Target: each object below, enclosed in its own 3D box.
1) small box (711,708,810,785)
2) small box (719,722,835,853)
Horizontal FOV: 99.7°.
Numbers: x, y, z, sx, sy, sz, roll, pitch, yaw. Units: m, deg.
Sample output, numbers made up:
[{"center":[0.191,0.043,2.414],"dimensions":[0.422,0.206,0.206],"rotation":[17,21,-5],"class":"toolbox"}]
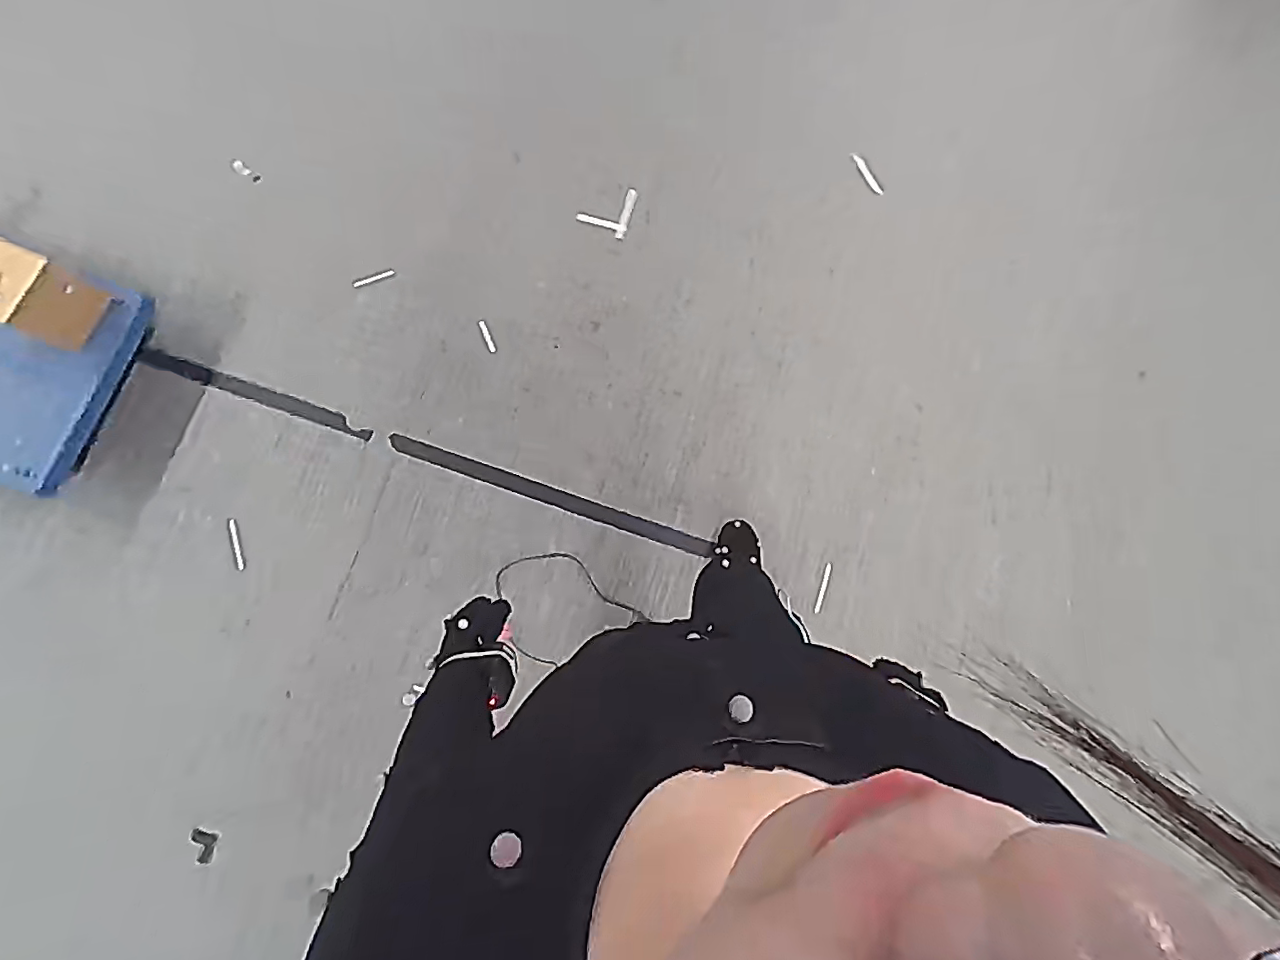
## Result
[{"center":[0.294,0.699,1.361],"dimensions":[0.179,0.176,0.168],"rotation":[25,82,2],"class":"small box"},{"center":[0.295,0.667,1.200],"dimensions":[0.179,0.176,0.168],"rotation":[27,81,4],"class":"small box"}]
